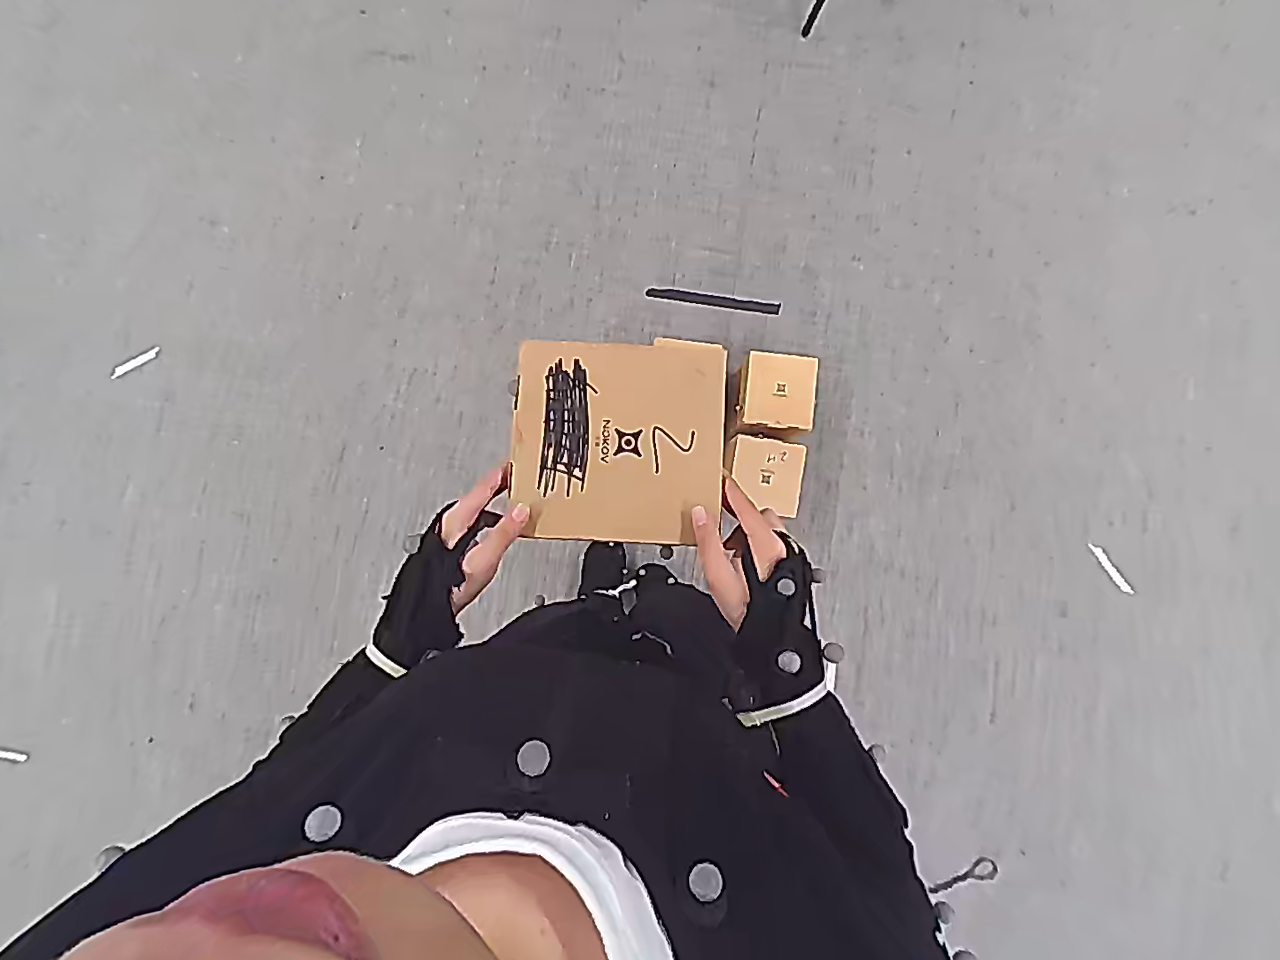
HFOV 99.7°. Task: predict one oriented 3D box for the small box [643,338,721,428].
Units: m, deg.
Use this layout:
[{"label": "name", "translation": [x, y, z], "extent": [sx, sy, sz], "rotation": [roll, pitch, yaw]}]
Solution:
[{"label": "small box", "translation": [0.100, -0.235, 1.355], "extent": [0.168, 0.176, 0.179], "rotation": [8, 84, -1]}]
